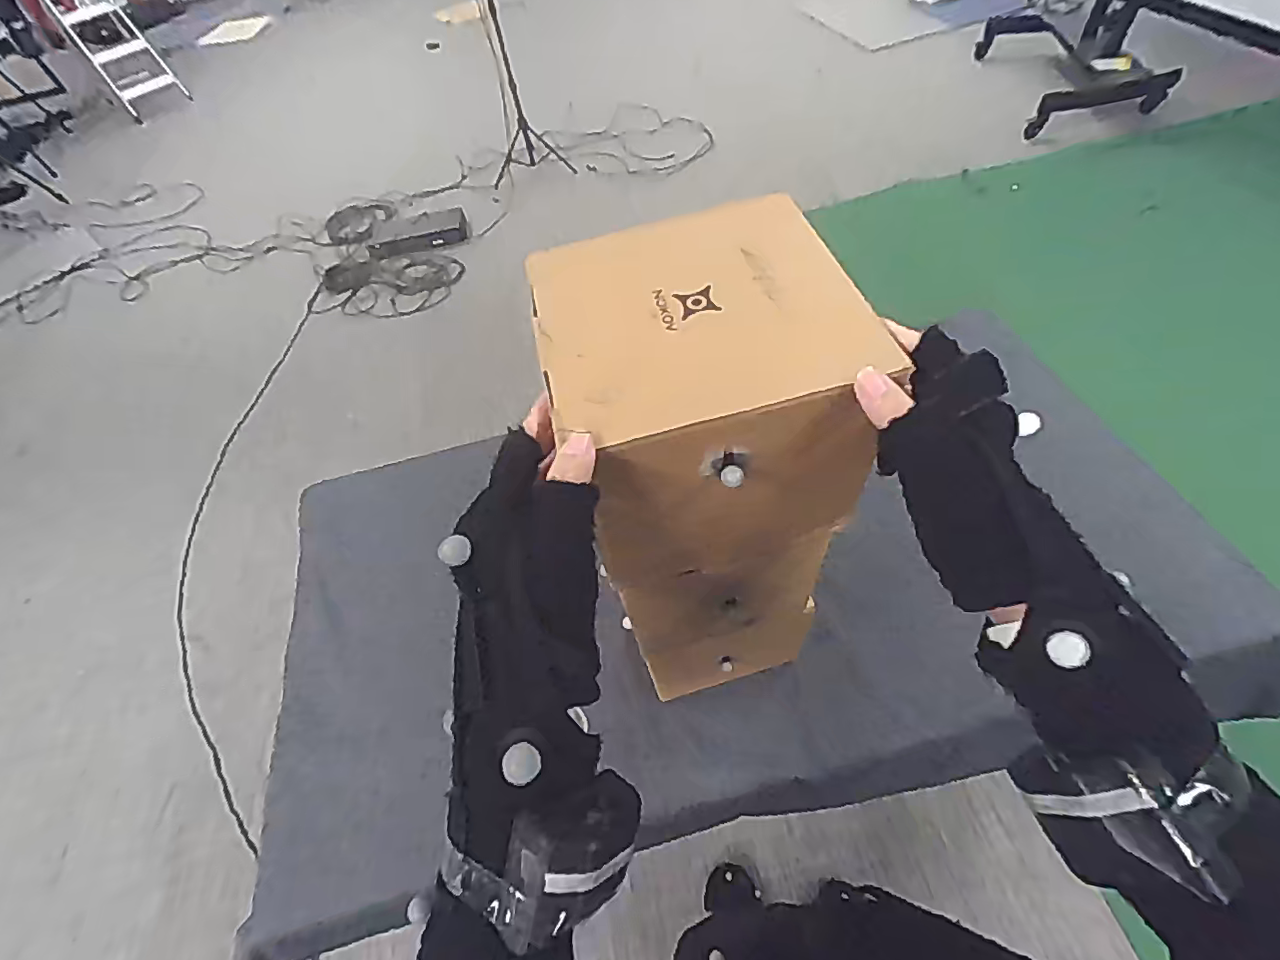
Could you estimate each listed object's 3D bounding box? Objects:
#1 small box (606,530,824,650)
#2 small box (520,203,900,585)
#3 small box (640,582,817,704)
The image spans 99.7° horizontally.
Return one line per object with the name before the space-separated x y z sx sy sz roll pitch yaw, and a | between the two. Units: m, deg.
small box | 0.047 0.041 0.500 0.168 0.176 0.179 -17 55 -3
small box | 0.034 -0.047 0.364 0.179 0.176 0.168 -14 57 -3
small box | 0.076 0.137 0.629 0.179 0.176 0.168 -18 55 -6
